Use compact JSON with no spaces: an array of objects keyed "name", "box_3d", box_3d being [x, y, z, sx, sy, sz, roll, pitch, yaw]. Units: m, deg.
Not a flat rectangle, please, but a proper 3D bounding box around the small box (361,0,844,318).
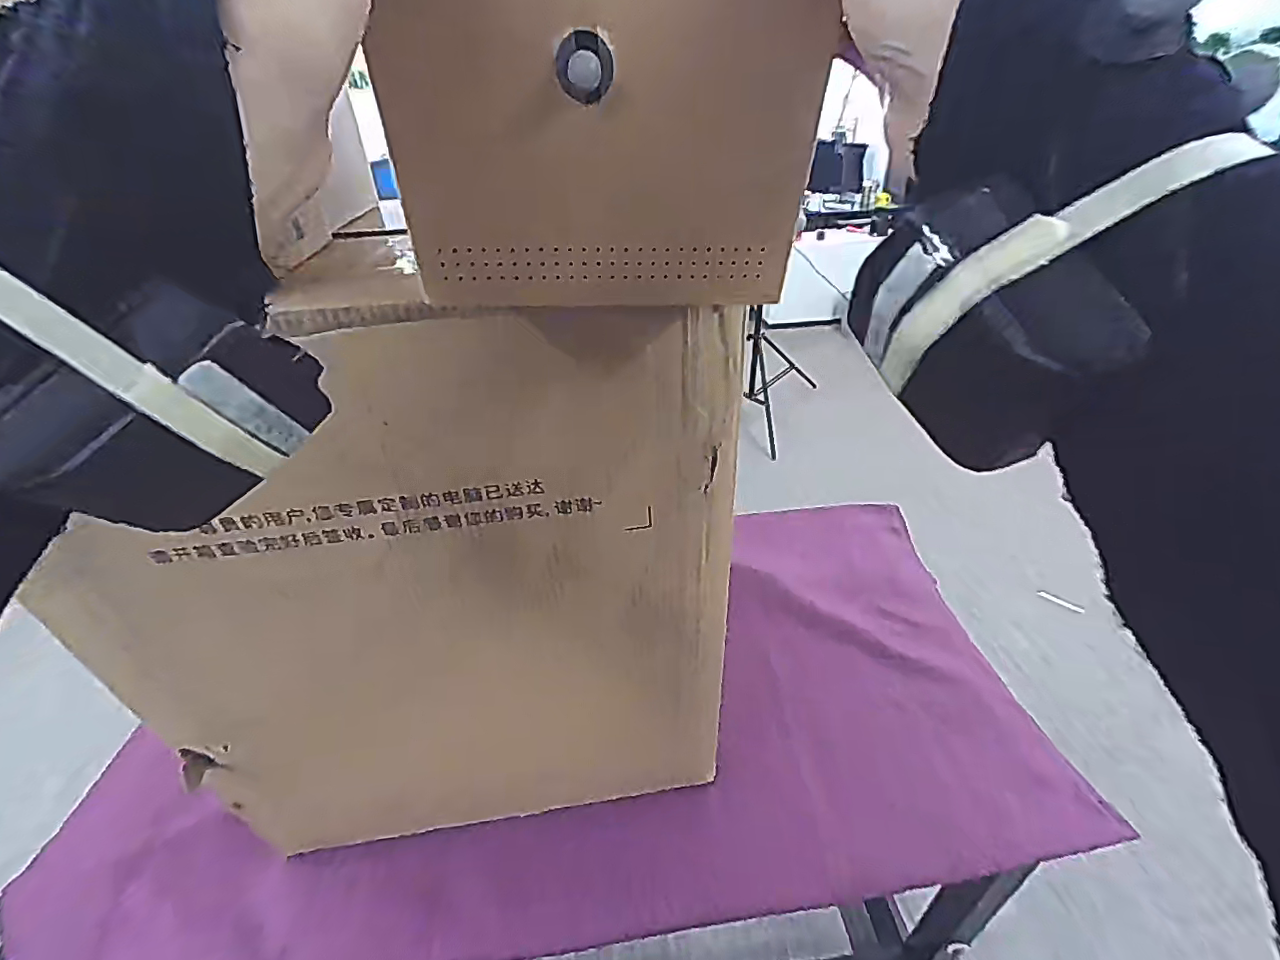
[{"name":"small box","box_3d":[-0.016,-0.195,0.274,0.179,0.176,0.168,-3,44,-4]}]
